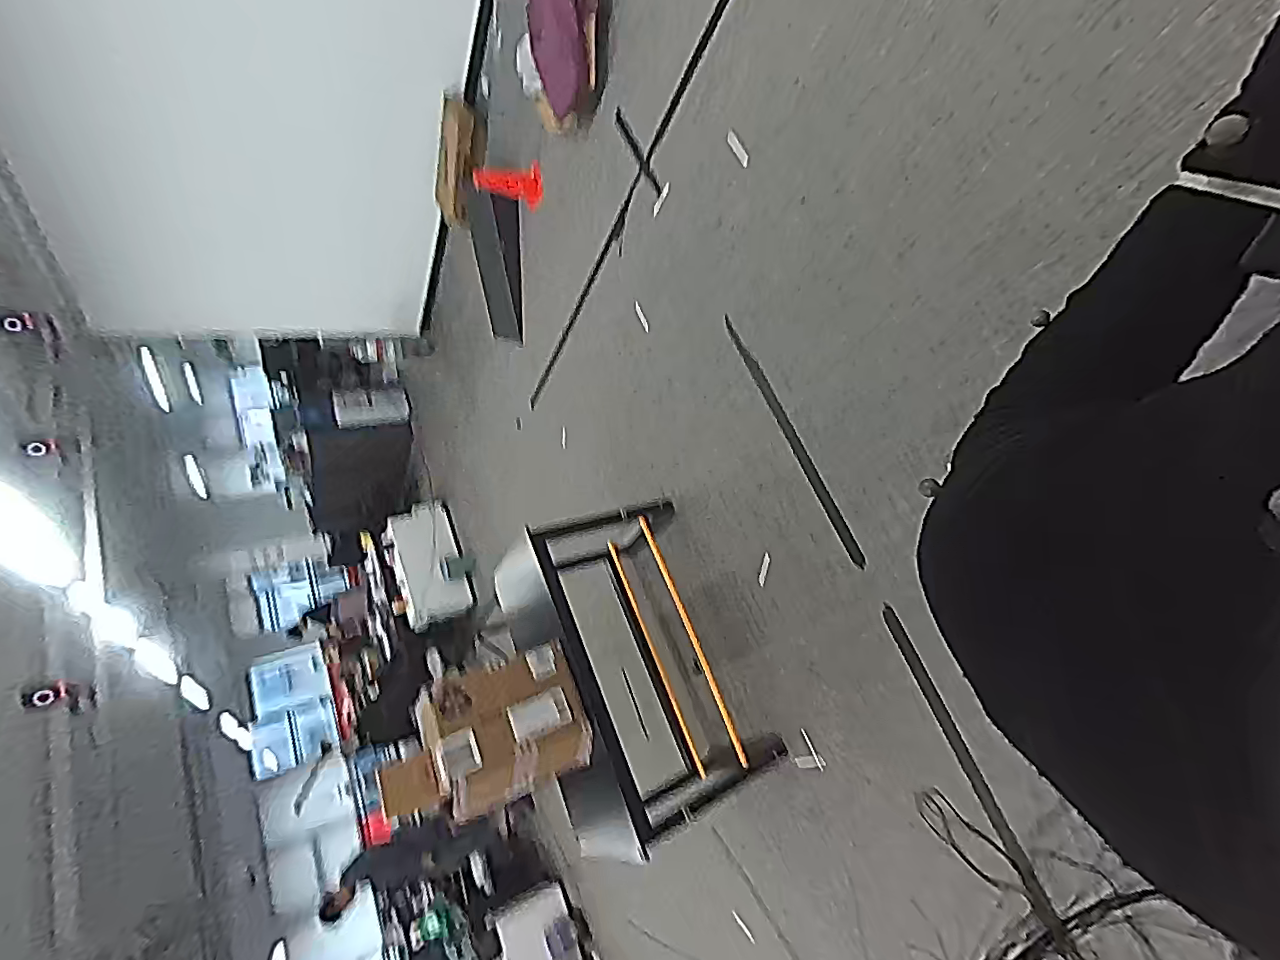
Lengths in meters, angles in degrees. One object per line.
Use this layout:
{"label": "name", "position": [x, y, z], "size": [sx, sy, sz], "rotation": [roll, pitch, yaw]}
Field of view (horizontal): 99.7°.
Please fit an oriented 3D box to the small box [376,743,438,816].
{"label": "small box", "position": [-0.801, 1.030, 1.860], "size": [0.168, 0.176, 0.179], "rotation": [64, 145, 24]}
